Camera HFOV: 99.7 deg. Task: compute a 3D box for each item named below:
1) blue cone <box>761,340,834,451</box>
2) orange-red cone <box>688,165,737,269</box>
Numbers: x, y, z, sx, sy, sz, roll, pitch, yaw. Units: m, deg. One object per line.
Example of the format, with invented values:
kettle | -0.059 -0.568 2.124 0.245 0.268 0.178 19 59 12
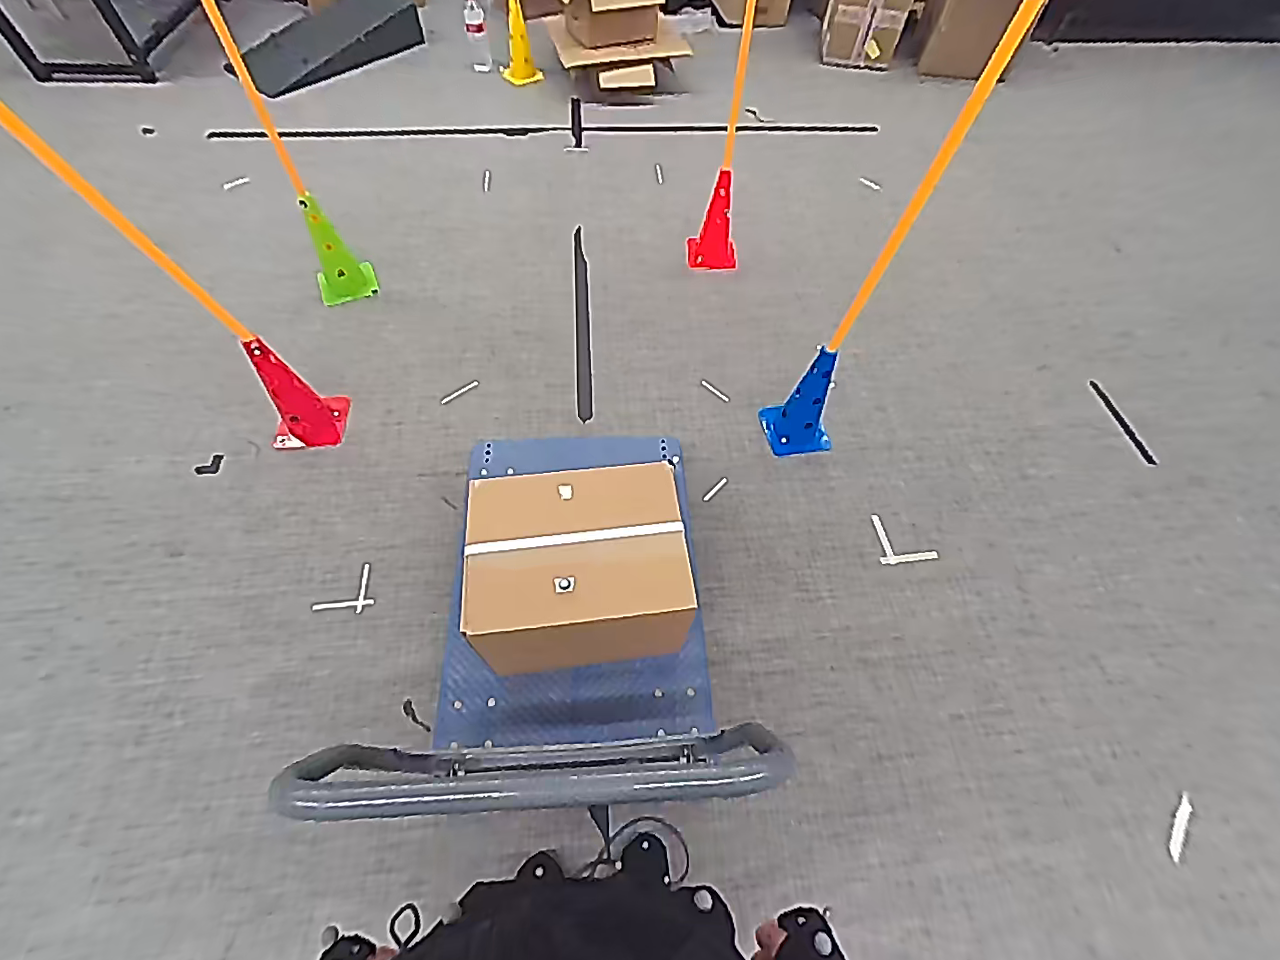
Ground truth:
blue cone | 0.516 -0.265 1.643 0.193 0.380 0.192 -6 58 -7
orange-red cone | 0.308 -1.030 2.091 0.199 0.360 0.198 3 59 -2
